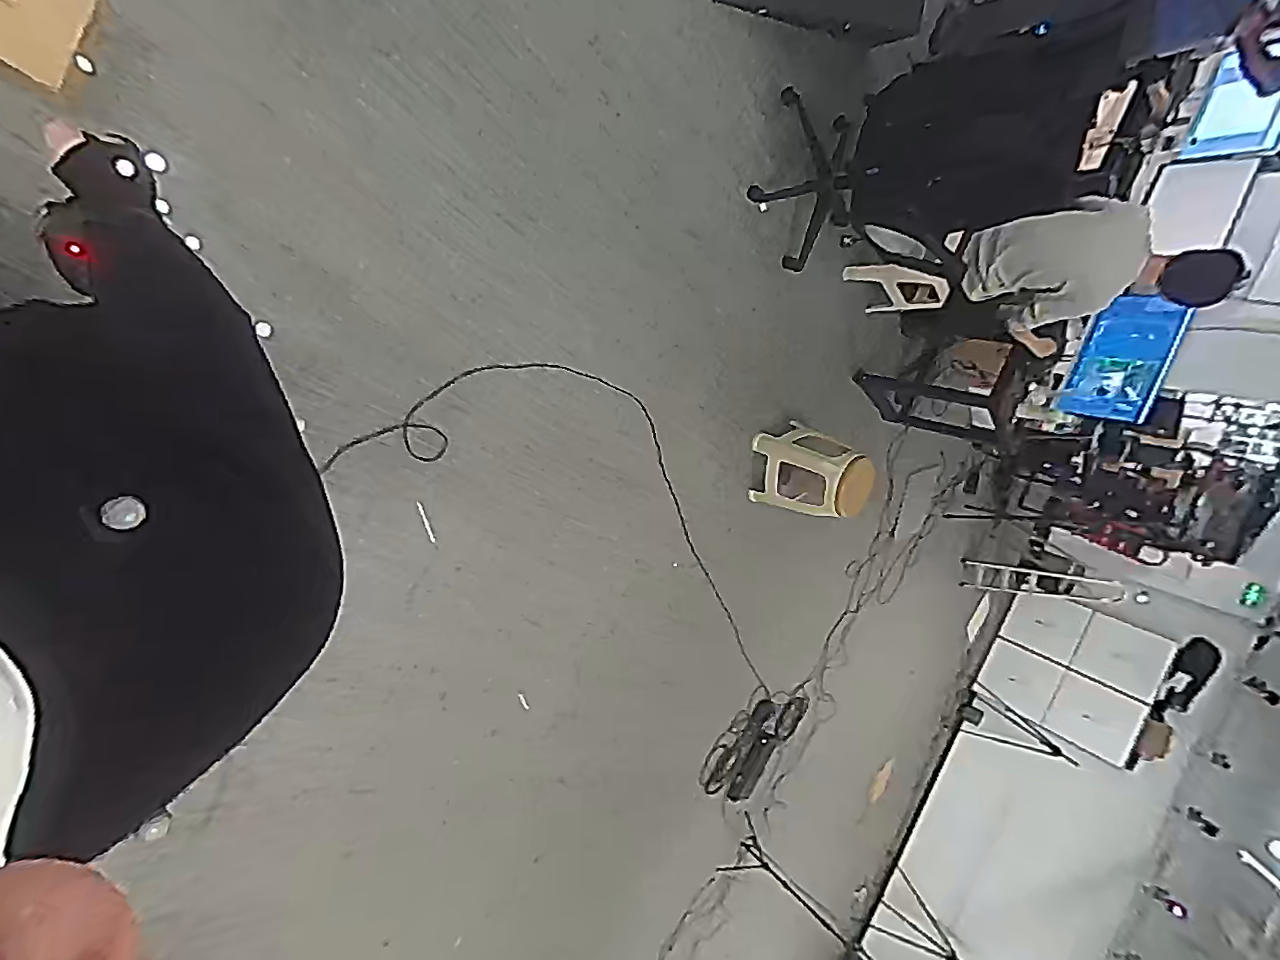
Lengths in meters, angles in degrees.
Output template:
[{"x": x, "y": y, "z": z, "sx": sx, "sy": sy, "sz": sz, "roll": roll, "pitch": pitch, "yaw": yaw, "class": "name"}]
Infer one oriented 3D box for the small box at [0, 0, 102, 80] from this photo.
[{"x": -0.933, "y": -0.716, "z": 0.789, "sx": 0.179, "sy": 0.176, "sz": 0.168, "roll": -15, "pitch": 116, "yaw": -37, "class": "small box"}]
